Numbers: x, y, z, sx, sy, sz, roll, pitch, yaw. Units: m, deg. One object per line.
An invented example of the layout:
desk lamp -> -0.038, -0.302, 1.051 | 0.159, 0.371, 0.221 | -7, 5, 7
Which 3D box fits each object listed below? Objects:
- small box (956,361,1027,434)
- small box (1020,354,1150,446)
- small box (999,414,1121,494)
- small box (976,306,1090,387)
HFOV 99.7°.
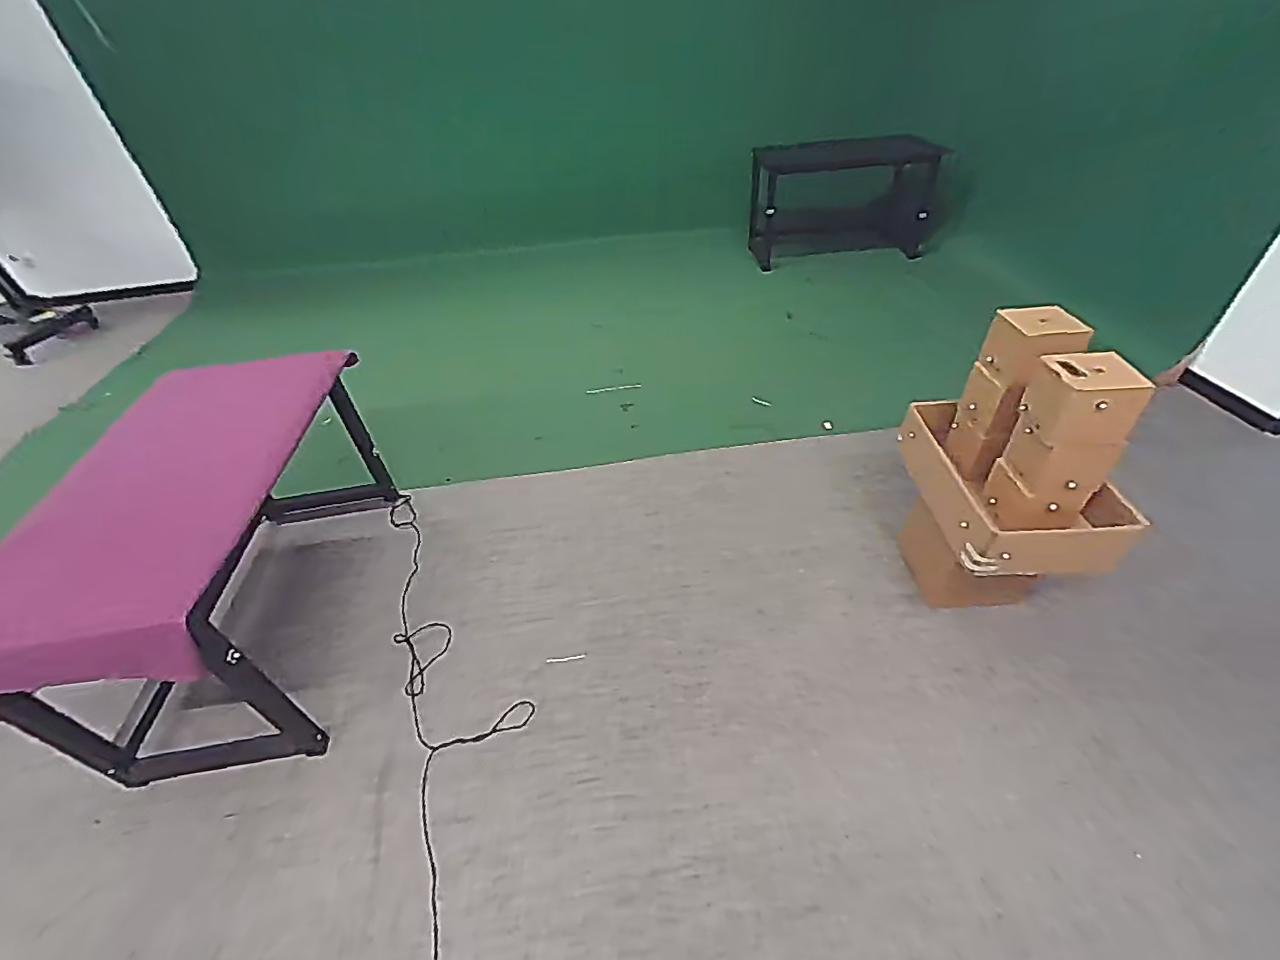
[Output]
small box -> 1.111, -0.256, 1.653 | 0.179, 0.176, 0.168 | -5, 42, 0
small box -> 1.092, -0.197, 1.352 | 0.179, 0.176, 0.168 | -1, 43, 5
small box -> 1.122, -0.076, 1.462 | 0.179, 0.176, 0.168 | -2, 42, 3
small box -> 1.112, -0.380, 1.546 | 0.179, 0.176, 0.168 | -3, 42, 0
